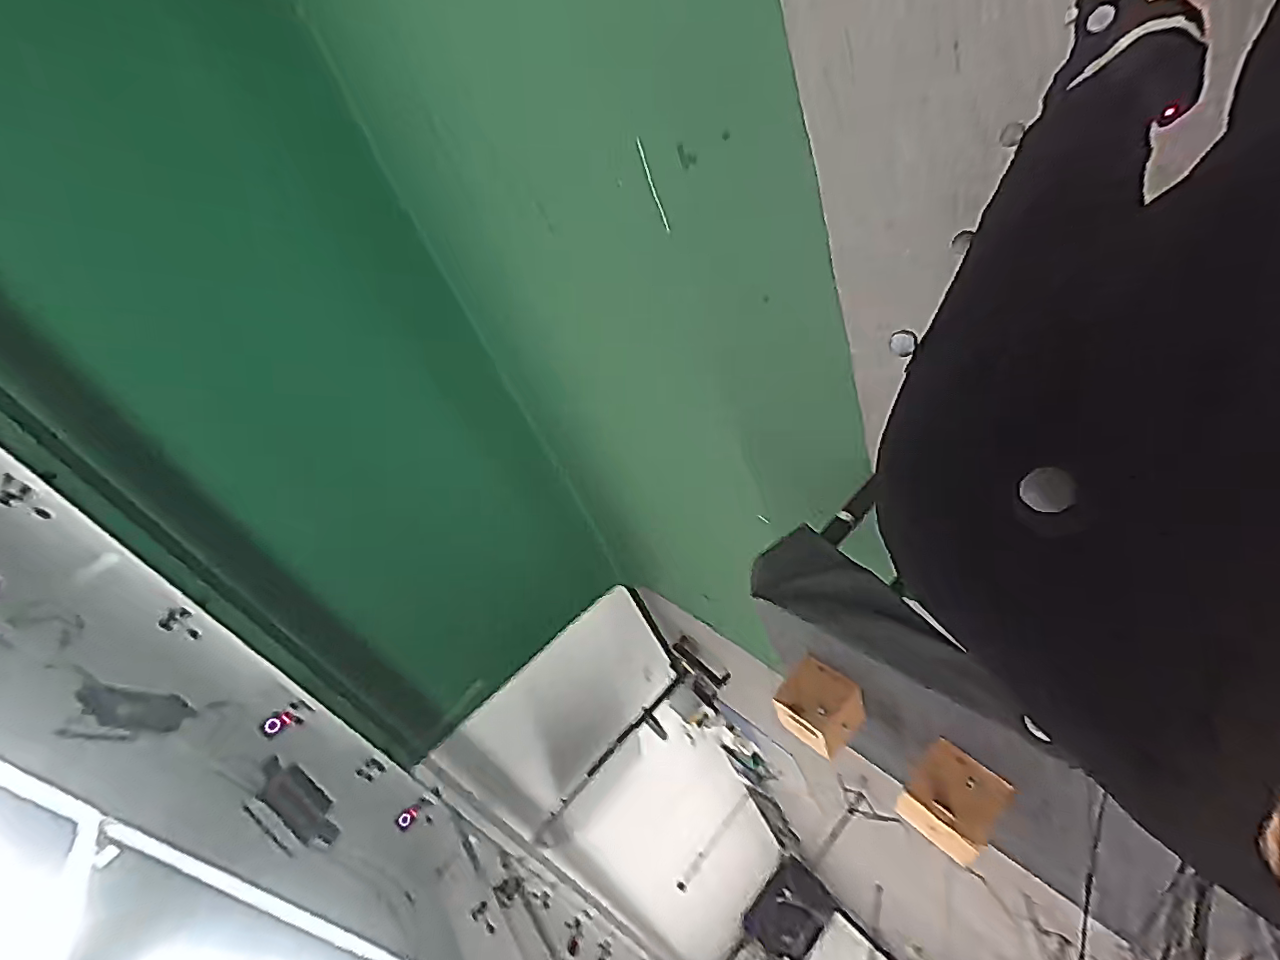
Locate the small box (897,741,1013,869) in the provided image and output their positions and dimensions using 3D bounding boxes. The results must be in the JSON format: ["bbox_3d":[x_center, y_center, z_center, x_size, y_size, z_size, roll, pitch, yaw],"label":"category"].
[{"bbox_3d":[0.726,0.750,1.253,0.168,0.176,0.179,33,152,39],"label":"small box"}]
